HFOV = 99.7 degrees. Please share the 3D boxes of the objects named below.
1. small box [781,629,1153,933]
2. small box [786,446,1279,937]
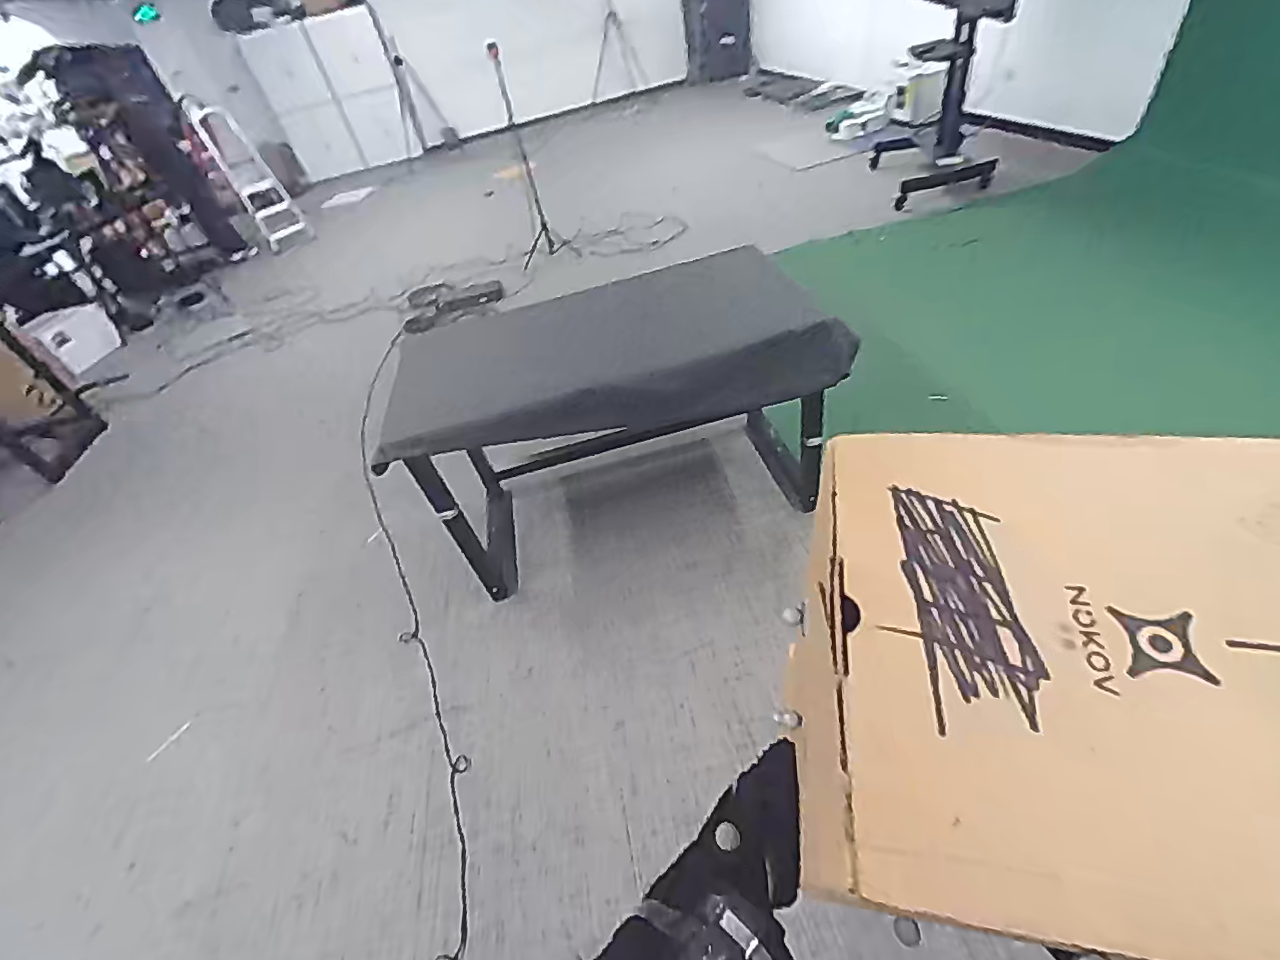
[{"bbox_3d":[0.188,0.183,0.381,0.168,0.176,0.179,2,56,13],"label":"small box"},{"bbox_3d":[0.164,0.100,0.262,0.179,0.176,0.168,2,56,13],"label":"small box"}]
